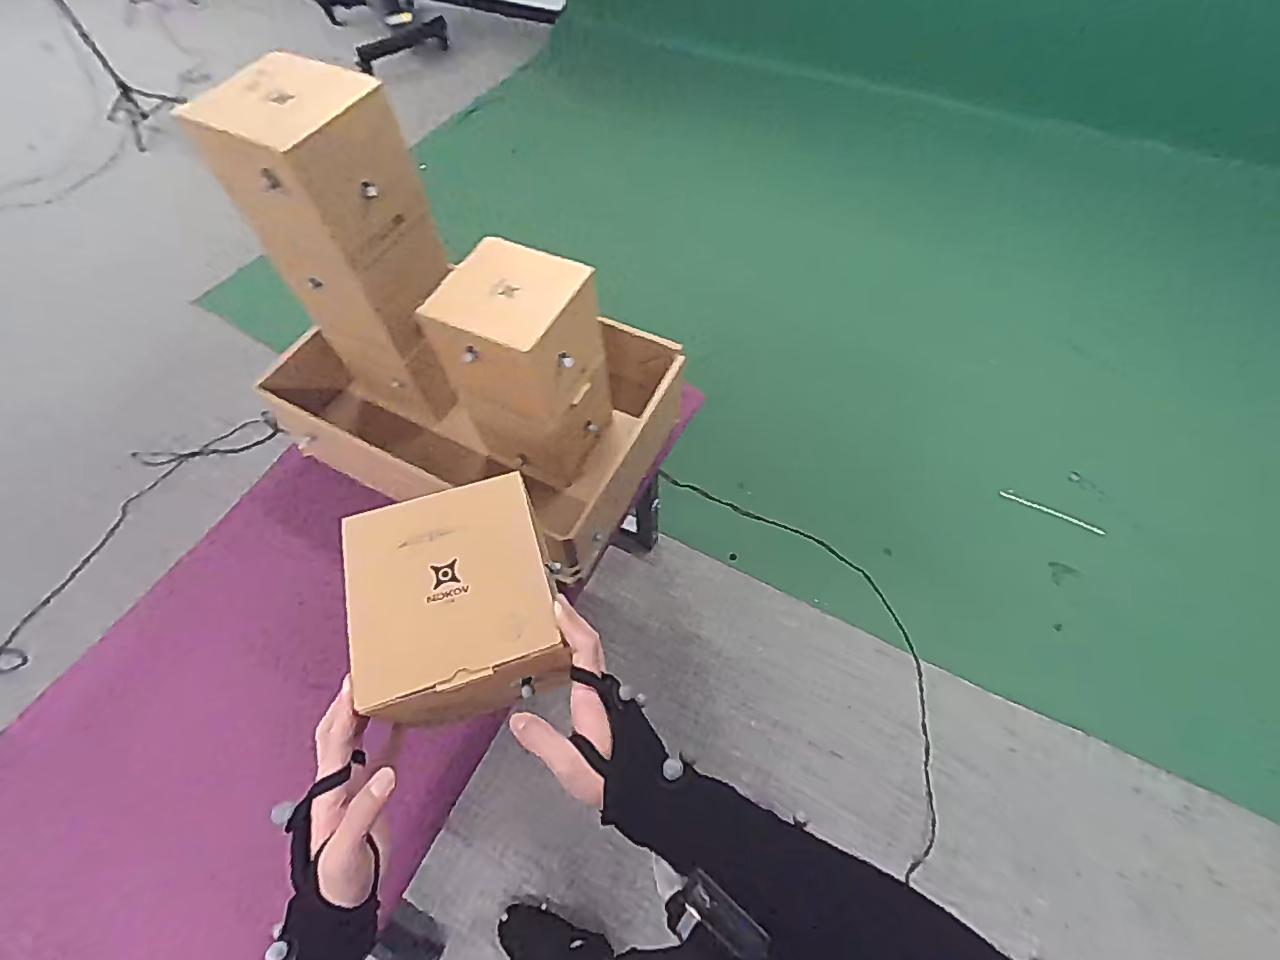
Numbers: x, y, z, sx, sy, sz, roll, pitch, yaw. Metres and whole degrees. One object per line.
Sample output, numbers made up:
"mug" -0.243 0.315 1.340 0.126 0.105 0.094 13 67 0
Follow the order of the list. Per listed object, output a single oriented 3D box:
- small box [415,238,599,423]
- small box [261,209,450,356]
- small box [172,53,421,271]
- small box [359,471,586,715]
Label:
"small box" -0.174 -0.205 0.774 0.179 0.176 0.168 22 64 16
"small box" -0.423 -0.323 0.845 0.179 0.176 0.168 22 64 12
"small box" -0.421 -0.402 0.700 0.179 0.176 0.168 23 63 13
"small box" -0.155 0.121 0.537 0.168 0.176 0.179 -15 62 -9
